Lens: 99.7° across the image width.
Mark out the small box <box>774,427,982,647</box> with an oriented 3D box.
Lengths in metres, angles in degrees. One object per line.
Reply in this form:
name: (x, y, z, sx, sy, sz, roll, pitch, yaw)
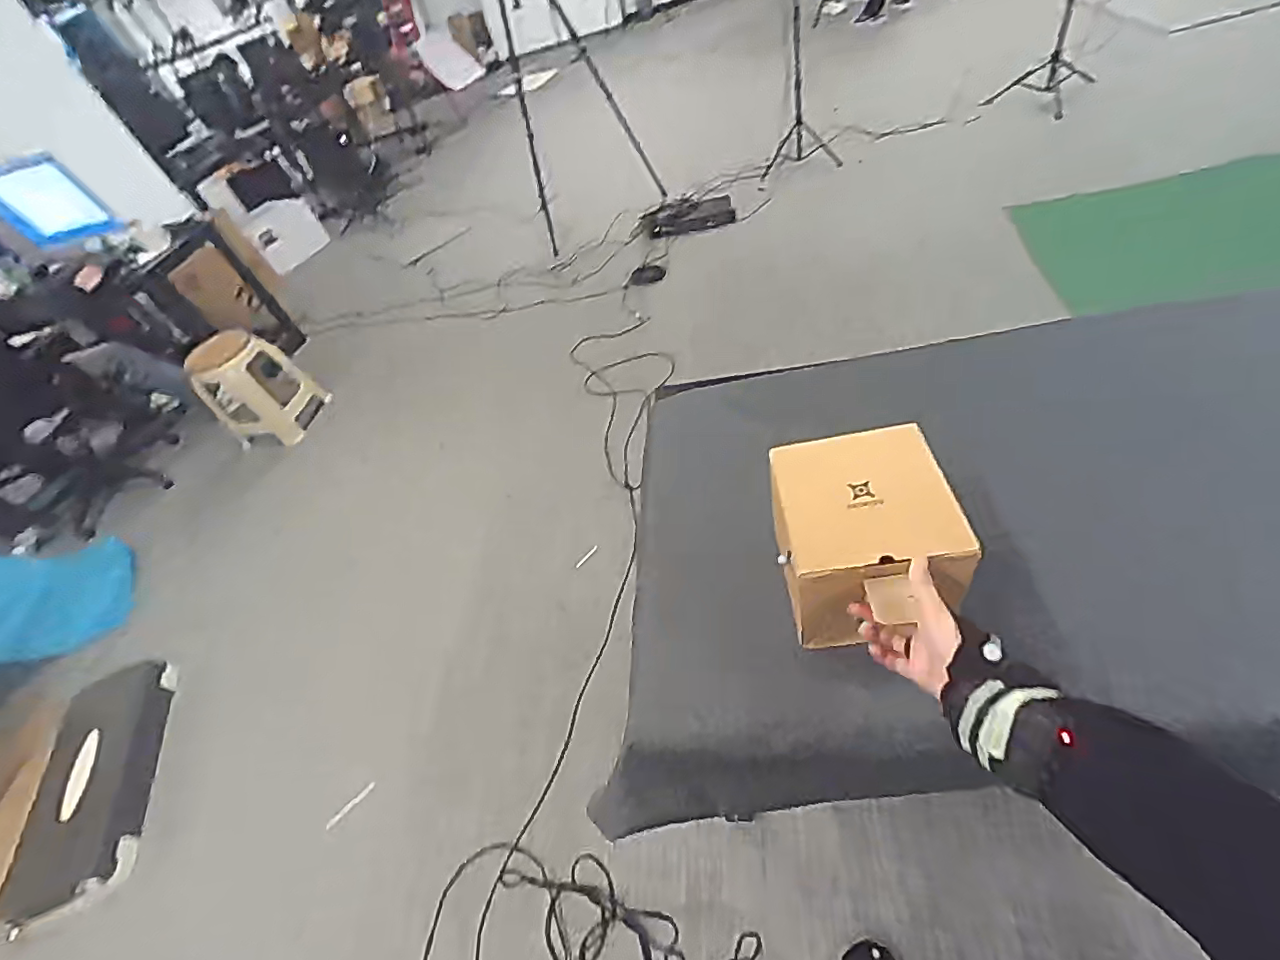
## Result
small box: (0.252, 0.069, 0.622, 0.168, 0.176, 0.179, -10, 48, 9)
